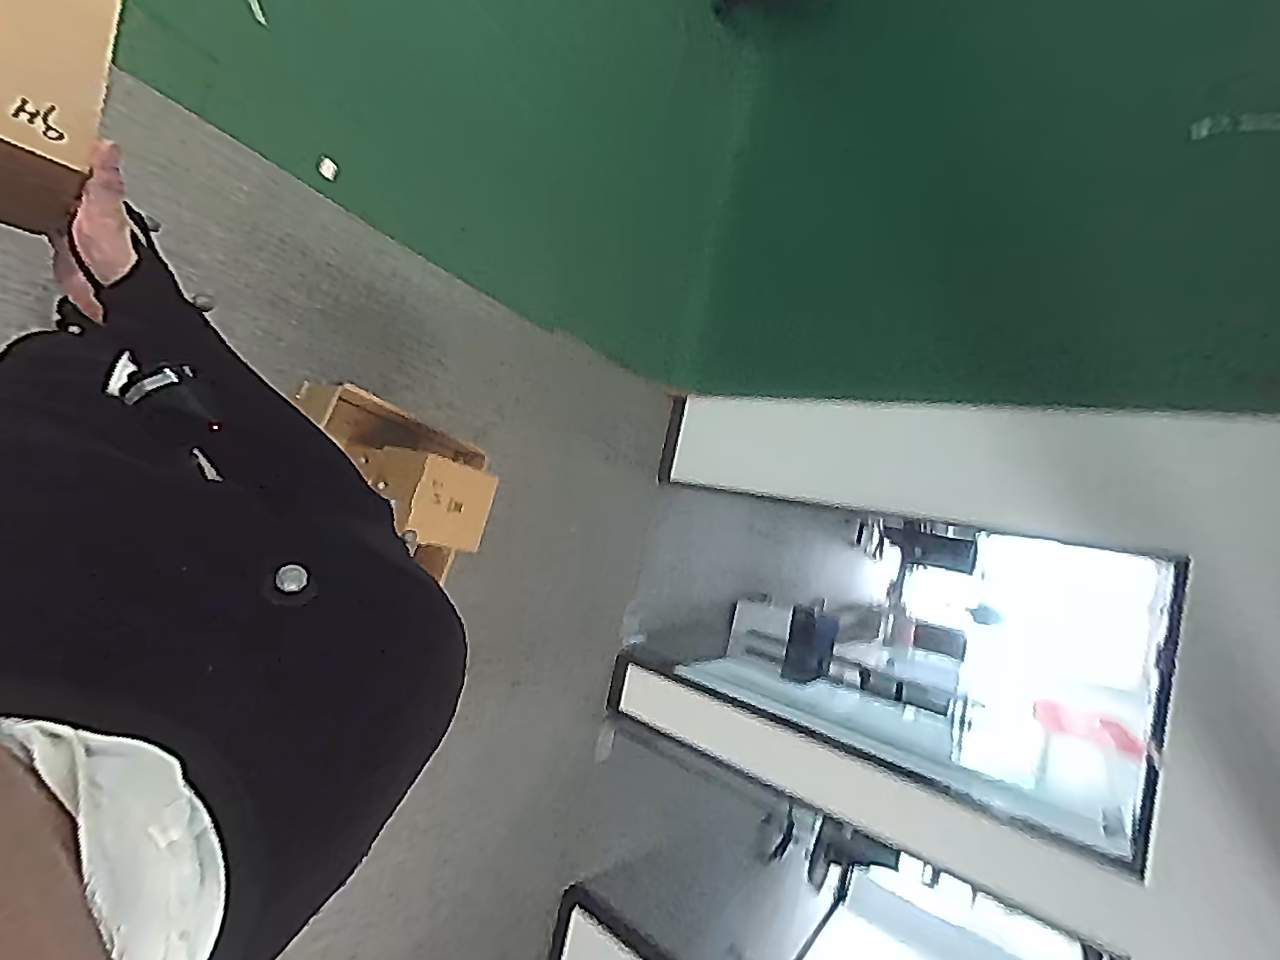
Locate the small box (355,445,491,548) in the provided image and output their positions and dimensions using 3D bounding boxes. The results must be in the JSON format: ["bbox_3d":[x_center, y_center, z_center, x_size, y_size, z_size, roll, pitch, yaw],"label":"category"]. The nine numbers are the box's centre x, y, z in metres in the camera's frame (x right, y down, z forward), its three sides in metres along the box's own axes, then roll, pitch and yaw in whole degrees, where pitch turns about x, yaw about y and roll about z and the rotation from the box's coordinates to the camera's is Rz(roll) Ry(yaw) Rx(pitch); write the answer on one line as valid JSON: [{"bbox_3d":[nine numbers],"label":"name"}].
[{"bbox_3d":[-0.452,0.033,1.132,0.179,0.176,0.168,26,77,-53],"label":"small box"}]

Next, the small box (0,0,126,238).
[{"bbox_3d":[-0.520,-0.313,0.394,0.168,0.176,0.179,11,80,-55],"label":"small box"}]
